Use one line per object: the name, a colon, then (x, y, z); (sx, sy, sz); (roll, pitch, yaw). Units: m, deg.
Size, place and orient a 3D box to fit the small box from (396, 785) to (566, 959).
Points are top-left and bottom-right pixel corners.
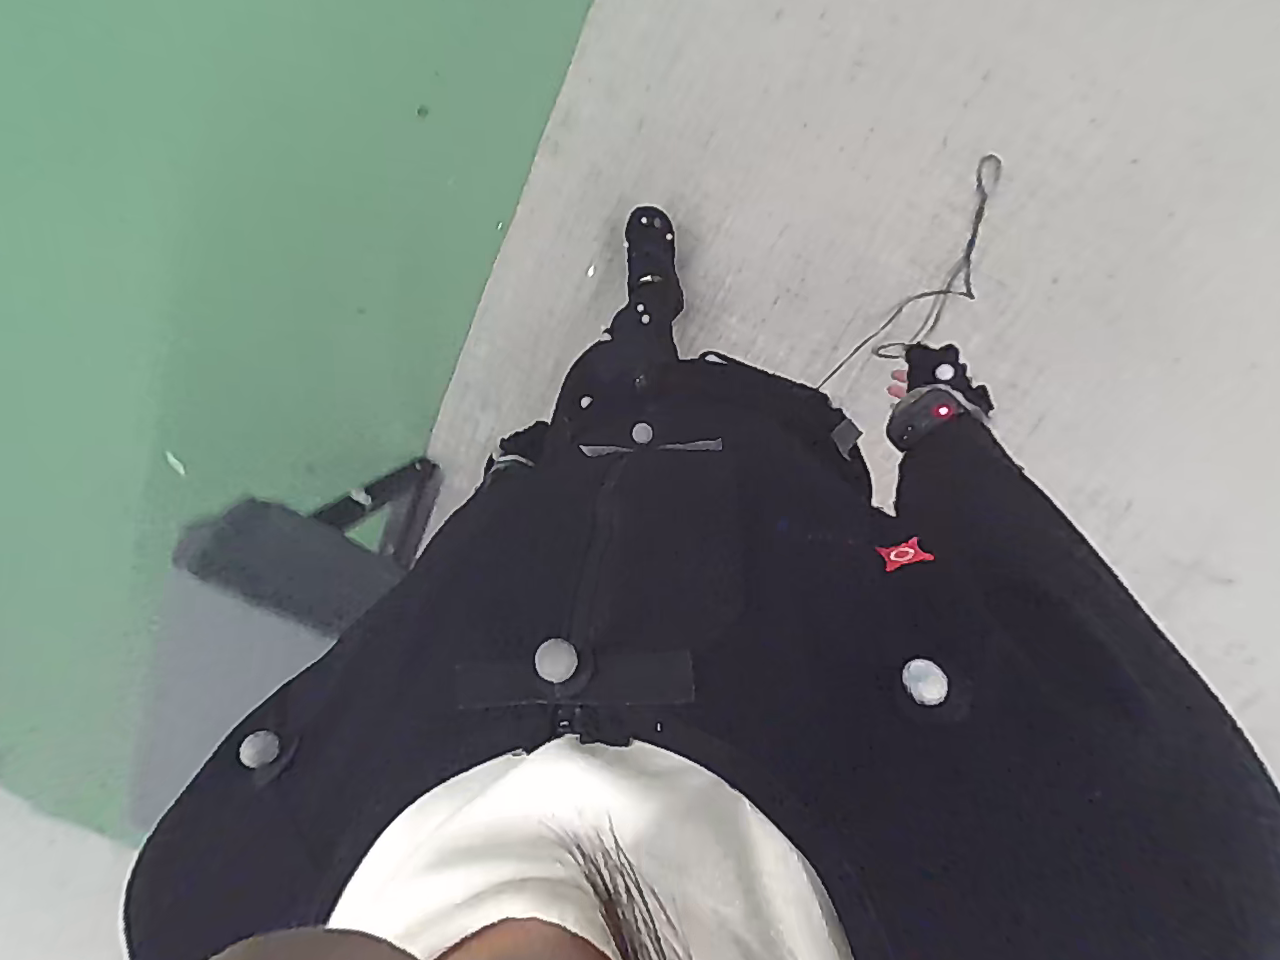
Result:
small box: (-0.234, 0.619, 0.837); (0.179, 0.176, 0.168); (26, 109, 1)
